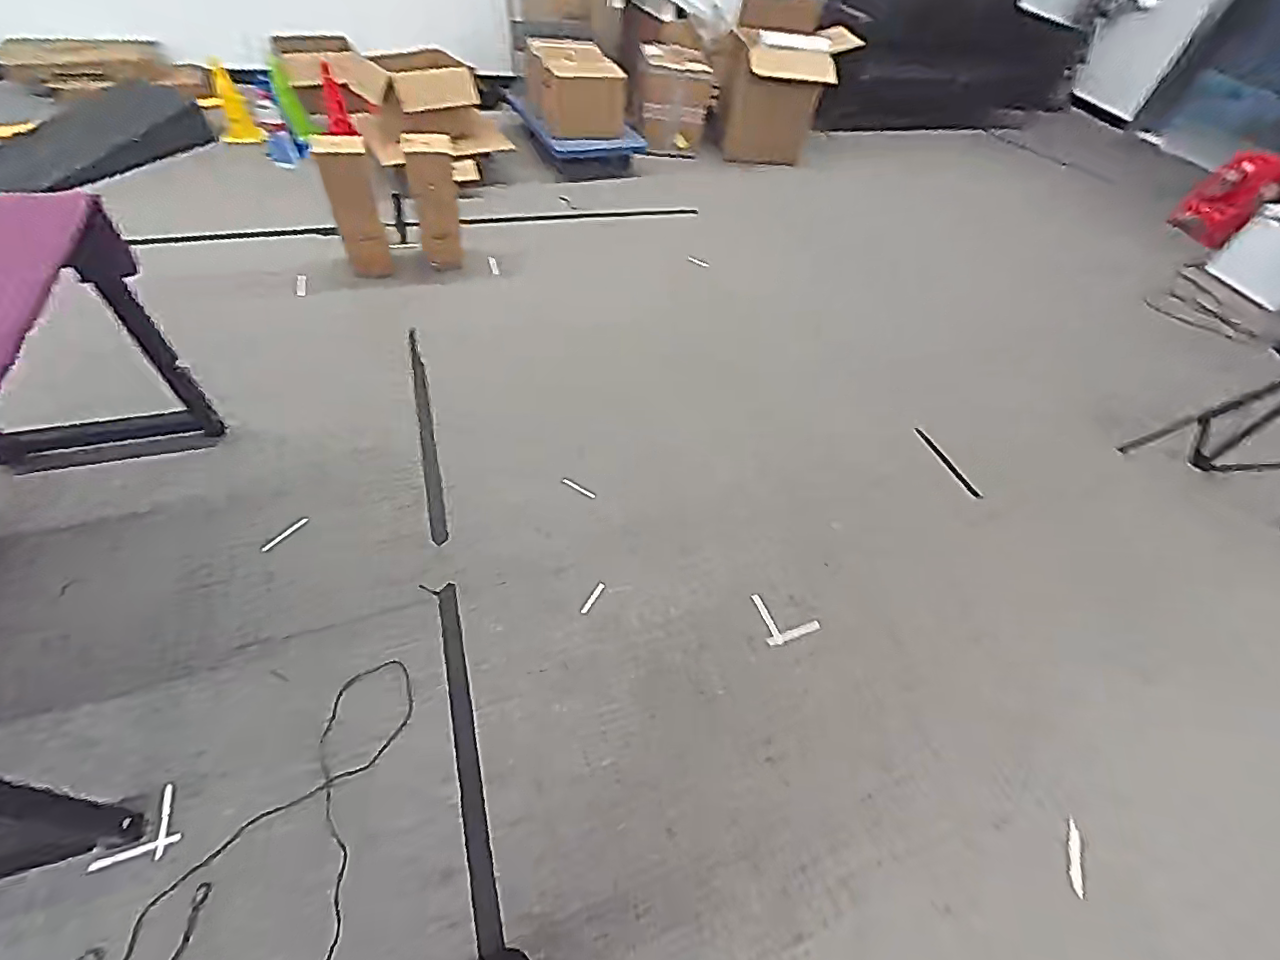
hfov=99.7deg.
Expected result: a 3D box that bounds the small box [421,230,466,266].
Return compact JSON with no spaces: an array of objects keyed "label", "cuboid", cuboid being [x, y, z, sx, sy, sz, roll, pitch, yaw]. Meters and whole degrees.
[{"label":"small box","cuboid":[-0.891,-1.082,2.440,0.168,0.176,0.179,-11,54,-18]}]

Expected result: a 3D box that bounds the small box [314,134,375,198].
[{"label":"small box","cuboid":[-1.132,-1.207,2.082,0.179,0.176,0.168,-12,53,-17]}]

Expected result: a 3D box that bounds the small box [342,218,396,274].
[{"label":"small box","cuboid":[-1.169,-1.008,2.339,0.179,0.176,0.168,-10,54,-17]}]

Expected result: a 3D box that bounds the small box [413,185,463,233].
[{"label":"small box","cuboid":[-0.861,-1.170,2.303,0.179,0.176,0.168,-9,55,-17]}]

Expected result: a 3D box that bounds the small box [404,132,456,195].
[{"label":"small box","cuboid":[-0.839,-1.268,2.173,0.179,0.176,0.168,-6,53,-15]}]
